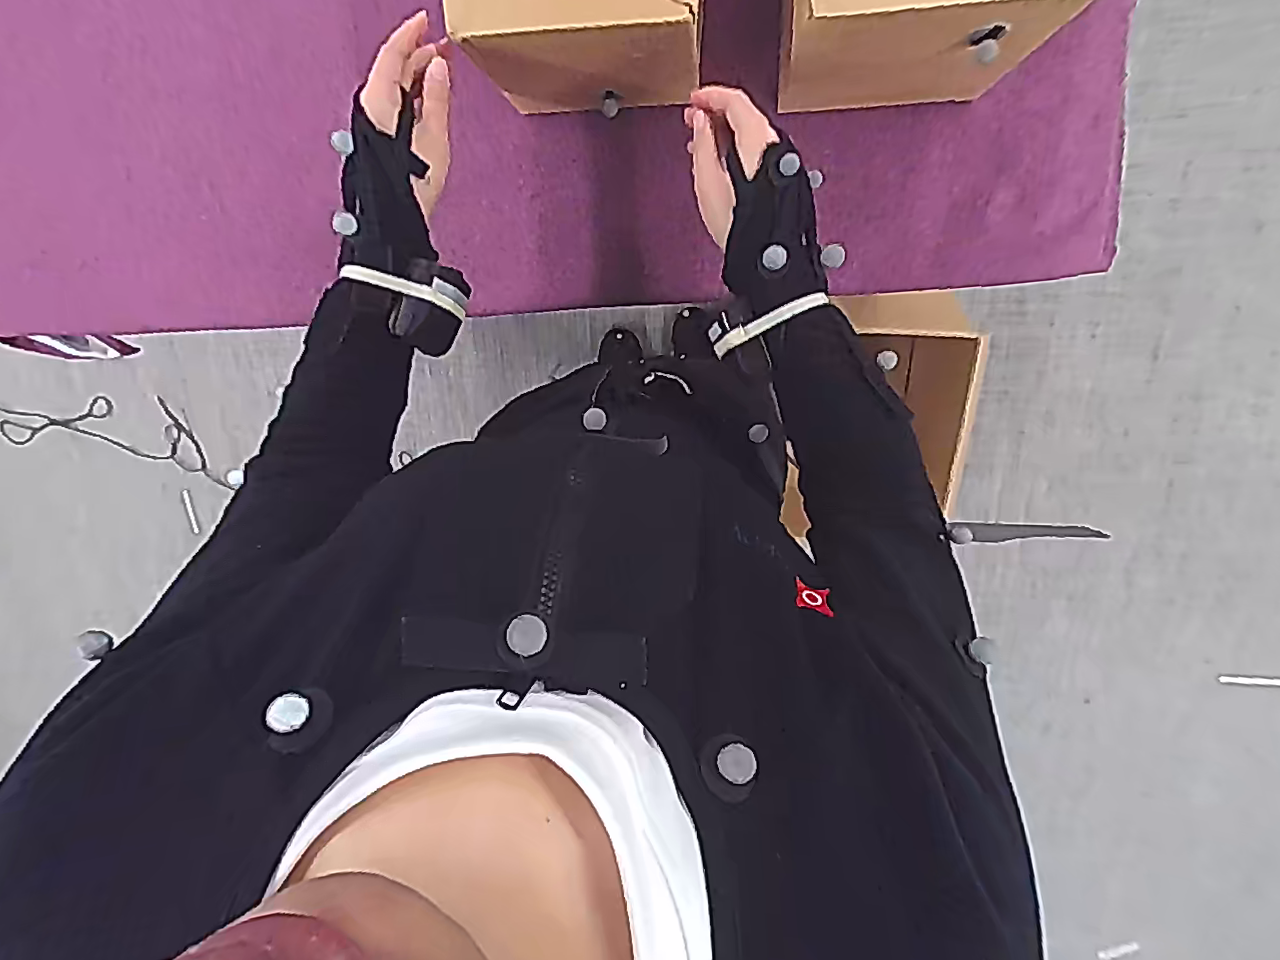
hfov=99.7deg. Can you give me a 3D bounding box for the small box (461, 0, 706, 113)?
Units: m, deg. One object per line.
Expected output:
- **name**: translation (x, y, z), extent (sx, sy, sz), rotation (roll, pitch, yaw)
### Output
- **small box**: translation (-0.037, -0.413, 0.420), extent (0.179, 0.176, 0.168), rotation (2, 107, 8)

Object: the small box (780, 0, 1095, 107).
- **small box**: translation (0.206, -0.398, 0.393), extent (0.179, 0.176, 0.168), rotation (2, 106, 7)
